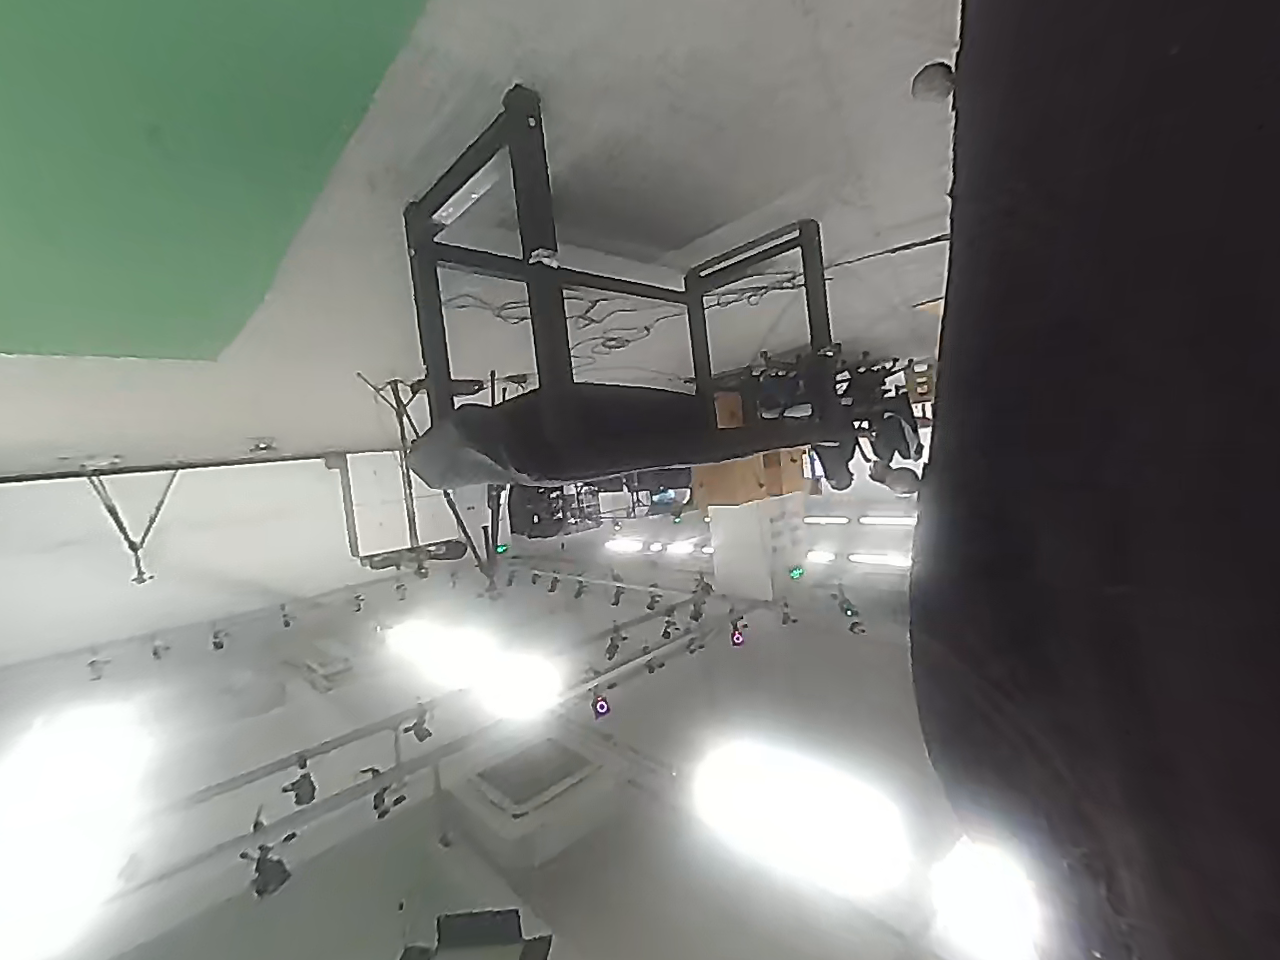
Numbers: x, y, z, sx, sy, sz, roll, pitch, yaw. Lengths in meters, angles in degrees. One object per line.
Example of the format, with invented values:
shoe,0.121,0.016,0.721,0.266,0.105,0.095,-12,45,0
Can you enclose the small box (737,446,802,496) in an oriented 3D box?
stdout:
small box,0.464,-0.034,1.945,0.179,0.176,0.168,-2,-176,43
